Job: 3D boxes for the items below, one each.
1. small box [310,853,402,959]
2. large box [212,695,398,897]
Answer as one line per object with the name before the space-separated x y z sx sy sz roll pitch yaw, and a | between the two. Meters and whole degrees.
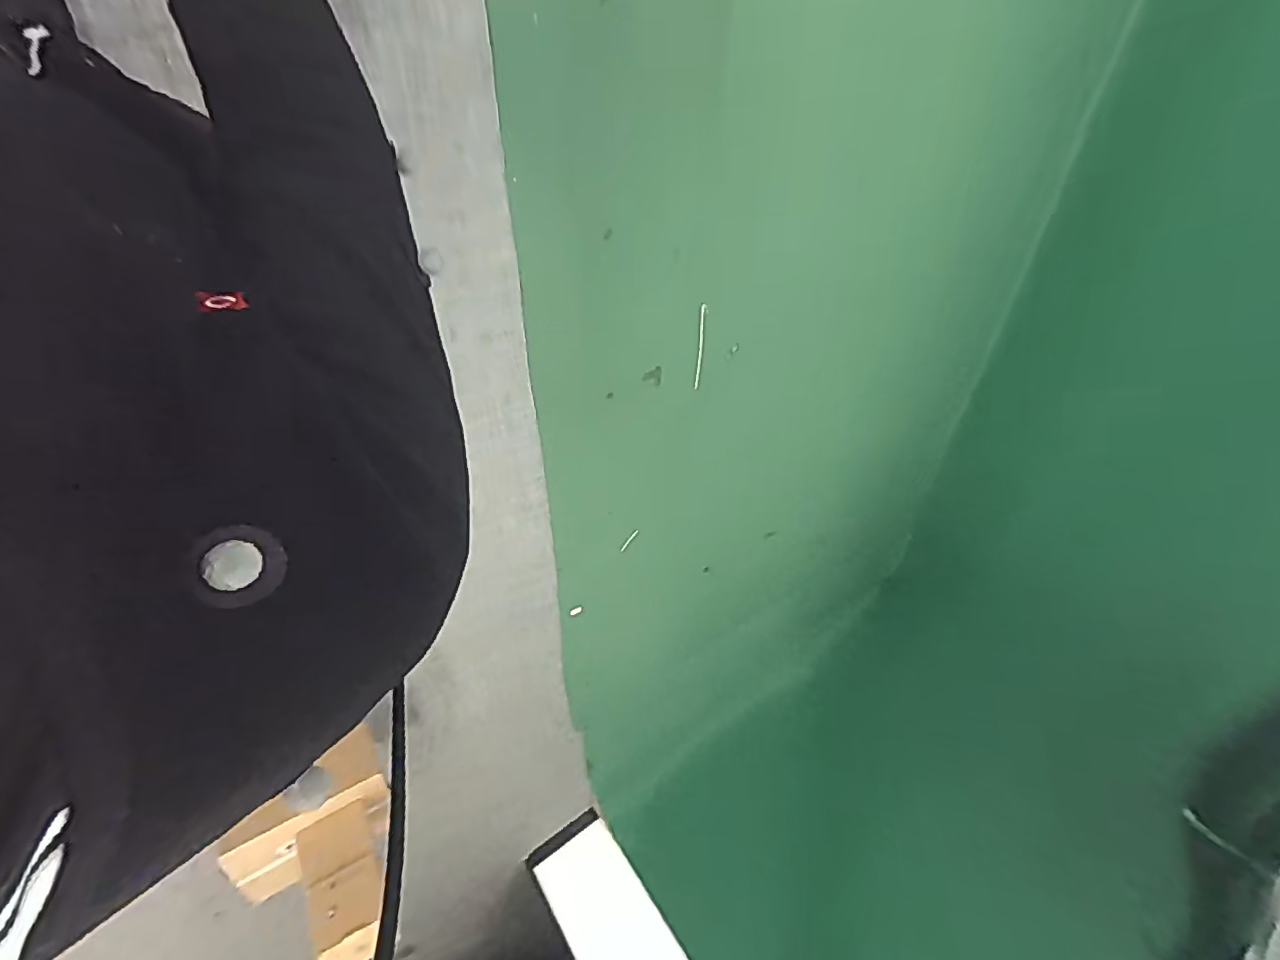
small box | -0.747 1.131 1.421 0.168 0.176 0.179 -18 132 -29
large box | -1.021 0.952 1.669 0.408 0.320 0.320 -18 130 -30
